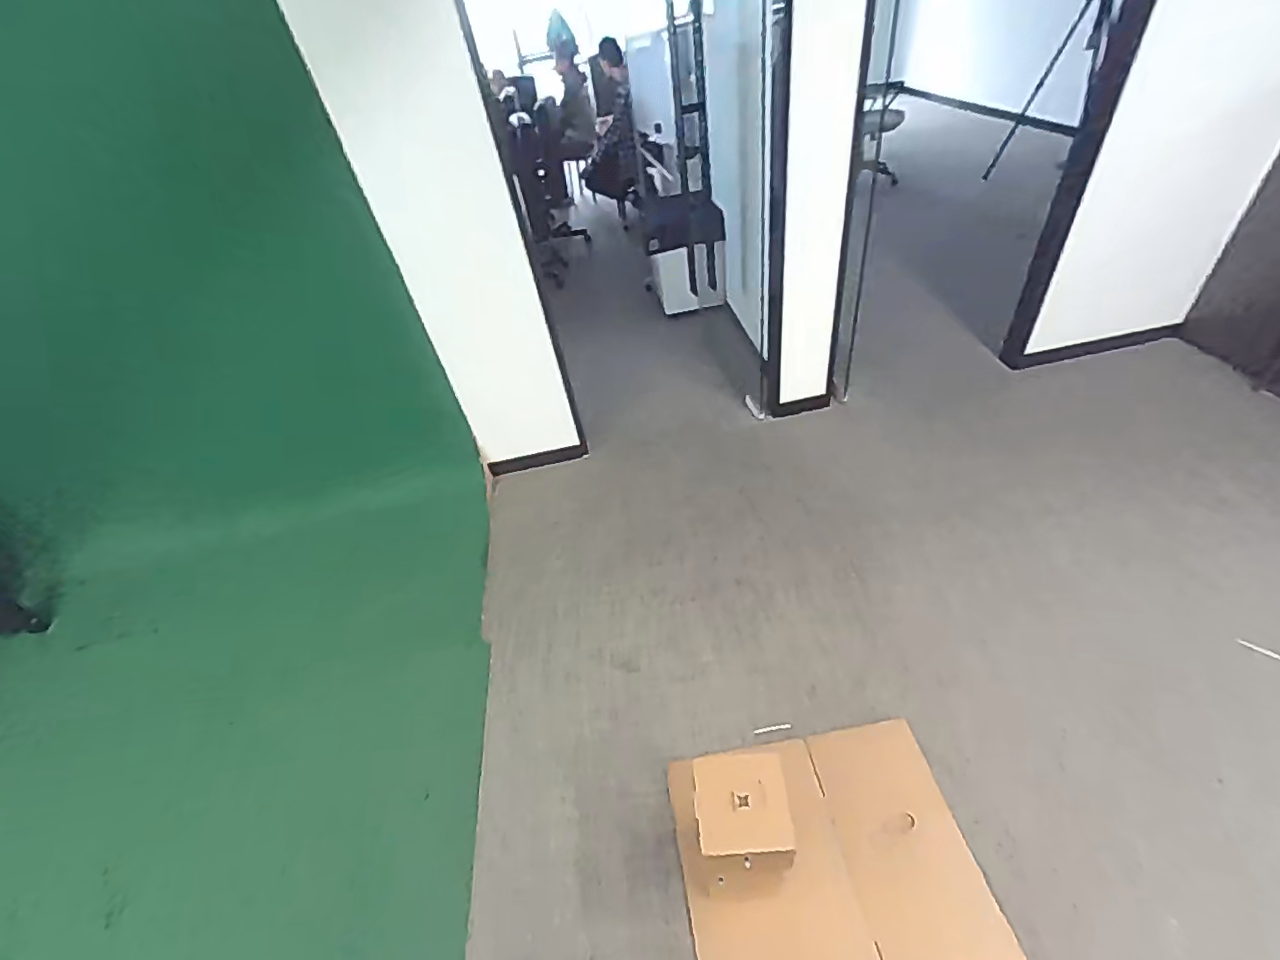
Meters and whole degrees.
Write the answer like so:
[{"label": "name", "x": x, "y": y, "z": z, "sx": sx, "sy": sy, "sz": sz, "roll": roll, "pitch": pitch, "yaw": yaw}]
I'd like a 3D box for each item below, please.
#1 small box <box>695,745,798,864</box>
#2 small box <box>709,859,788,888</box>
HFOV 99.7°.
[{"label": "small box", "x": 0.209, "y": 0.651, "z": 1.080, "sx": 0.179, "sy": 0.176, "sz": 0.168, "roll": -7, "pitch": 44, "yaw": 5}, {"label": "small box", "x": 0.254, "y": 0.874, "z": 1.316, "sx": 0.179, "sy": 0.176, "sz": 0.168, "roll": -8, "pitch": 43, "yaw": 4}]
